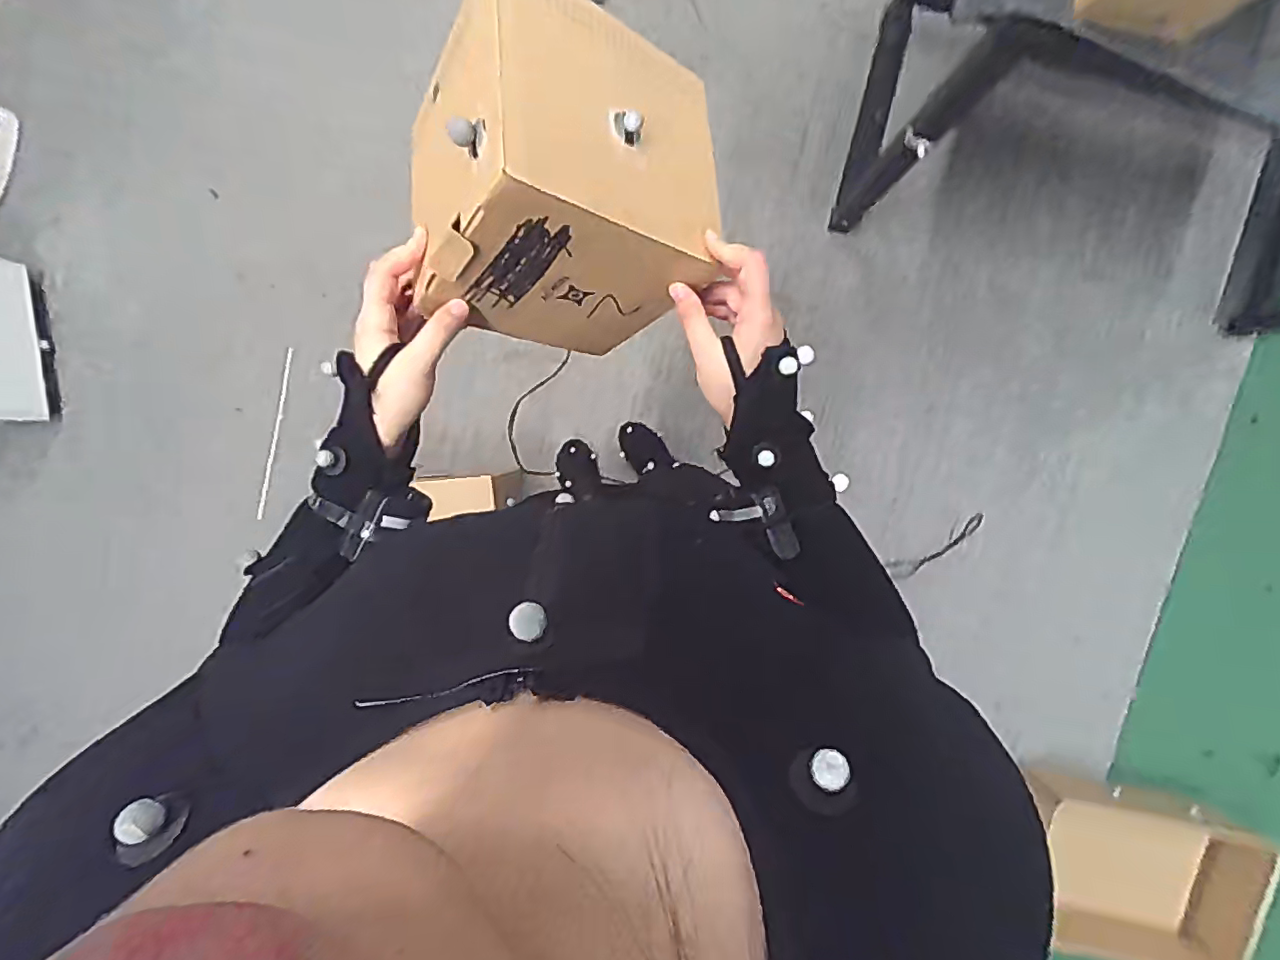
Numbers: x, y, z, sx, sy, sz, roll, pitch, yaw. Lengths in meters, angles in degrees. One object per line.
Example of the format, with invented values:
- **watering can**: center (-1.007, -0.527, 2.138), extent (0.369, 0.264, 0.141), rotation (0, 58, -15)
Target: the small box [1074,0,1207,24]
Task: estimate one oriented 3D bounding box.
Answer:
- **small box**: center (0.647, -0.692, 0.624), extent (0.168, 0.176, 0.179), rotation (9, 95, -2)
